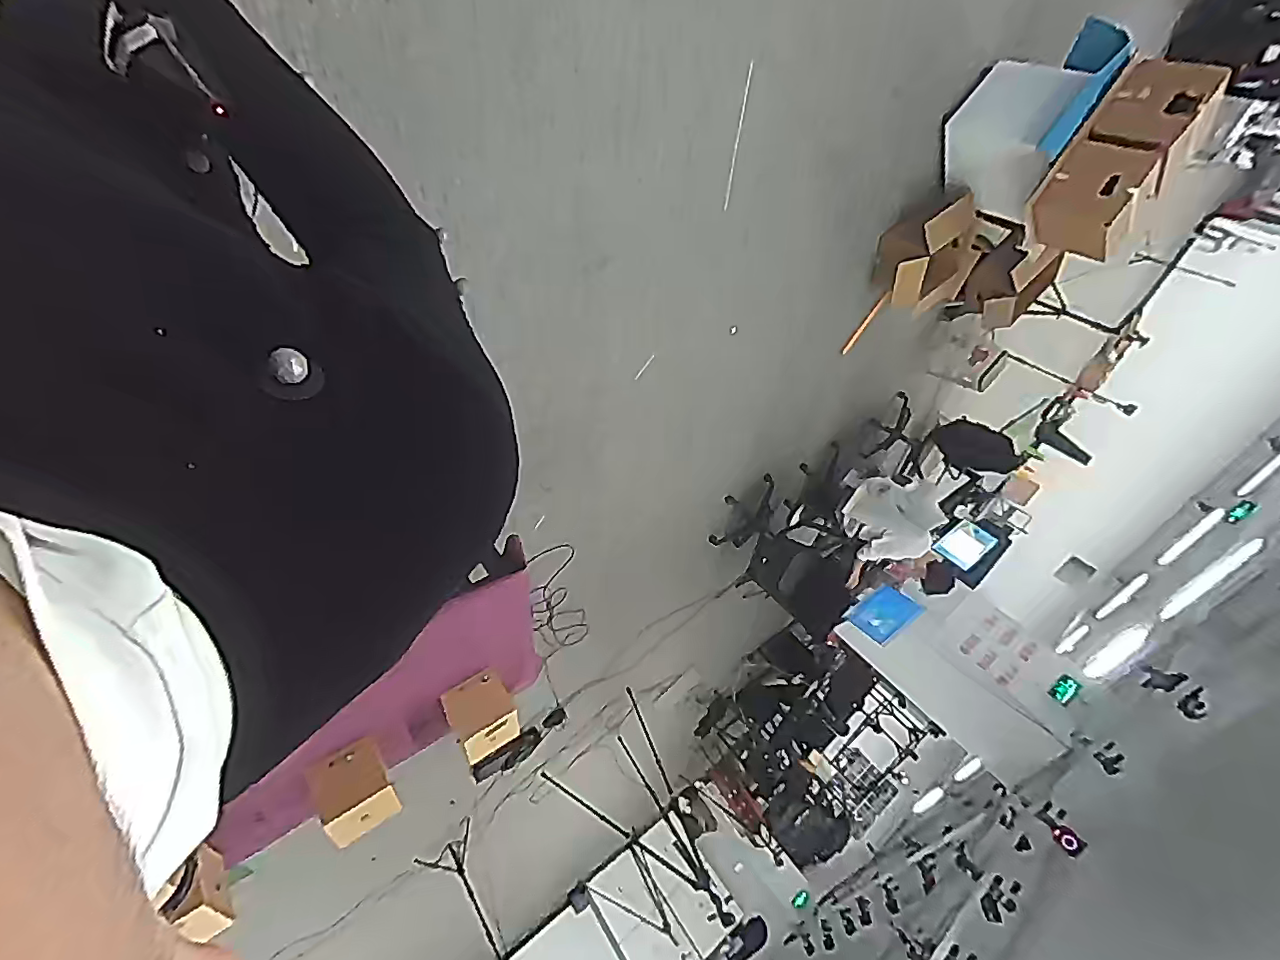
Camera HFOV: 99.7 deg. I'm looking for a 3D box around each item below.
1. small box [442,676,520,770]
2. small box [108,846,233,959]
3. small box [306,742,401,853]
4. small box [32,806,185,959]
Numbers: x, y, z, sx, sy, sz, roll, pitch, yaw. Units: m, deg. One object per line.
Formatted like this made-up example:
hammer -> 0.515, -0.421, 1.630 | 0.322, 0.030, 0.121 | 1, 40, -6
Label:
small box -> -0.478, 0.721, 1.627 | 0.168, 0.176, 0.179 | -24, 140, -30
small box -> -1.078, 0.989, 1.244 | 0.168, 0.176, 0.179 | -24, 140, -31
small box -> -0.761, 0.840, 1.443 | 0.168, 0.176, 0.179 | -24, 139, -32
small box -> -1.046, 0.793, 1.073 | 0.168, 0.176, 0.179 | -23, 141, -33
